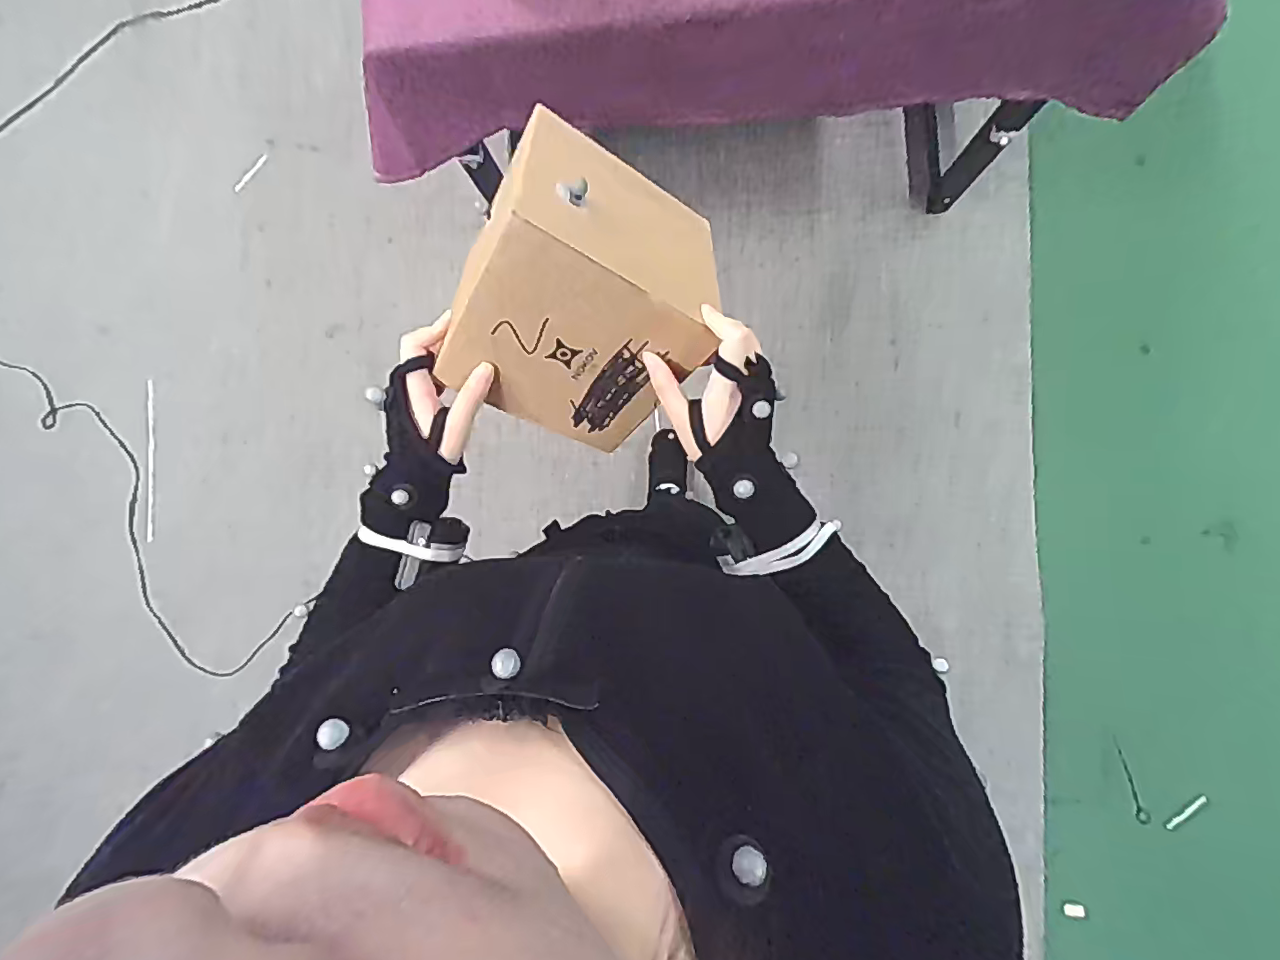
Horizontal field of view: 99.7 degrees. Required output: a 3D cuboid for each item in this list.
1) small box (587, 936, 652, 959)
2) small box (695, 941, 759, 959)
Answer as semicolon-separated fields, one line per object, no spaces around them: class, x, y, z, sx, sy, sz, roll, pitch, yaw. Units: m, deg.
small box;-0.056;1.292;1.351;0.168;0.176;0.179;0;88;5
small box;0.218;1.294;1.332;0.168;0.176;0.179;4;89;5
